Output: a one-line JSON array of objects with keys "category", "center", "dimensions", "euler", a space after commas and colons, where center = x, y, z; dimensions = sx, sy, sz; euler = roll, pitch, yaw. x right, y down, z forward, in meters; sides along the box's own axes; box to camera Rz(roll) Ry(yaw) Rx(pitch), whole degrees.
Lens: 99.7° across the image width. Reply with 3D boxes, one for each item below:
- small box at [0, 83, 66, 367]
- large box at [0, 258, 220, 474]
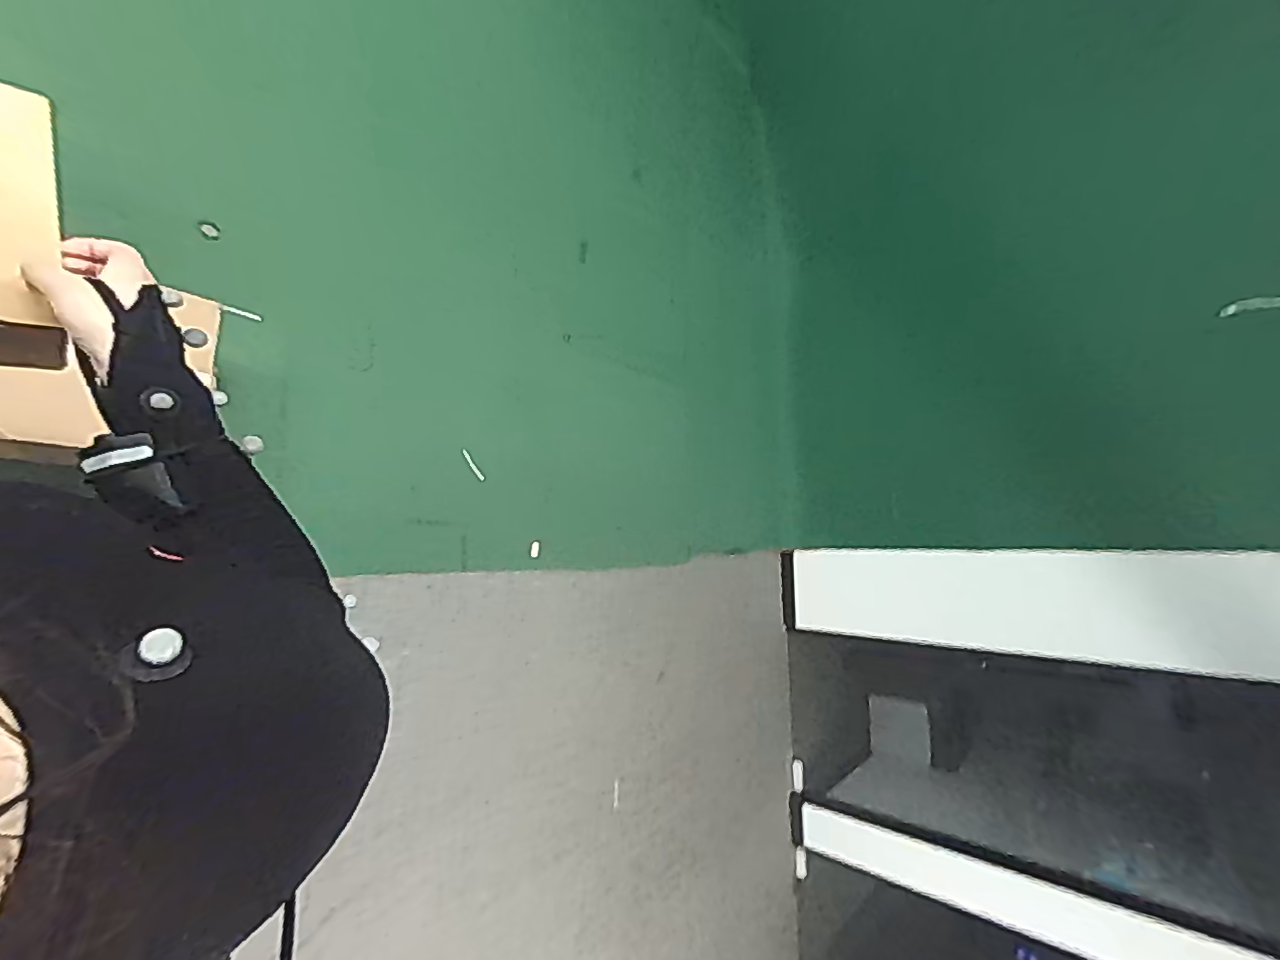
[{"category": "small box", "center": [-0.544, -0.187, 0.389], "dimensions": [0.168, 0.176, 0.179], "euler": [-6, 94, -48]}, {"category": "large box", "center": [-1.048, -0.195, 0.960], "dimensions": [0.408, 0.320, 0.320], "euler": [11, 78, -48]}]
